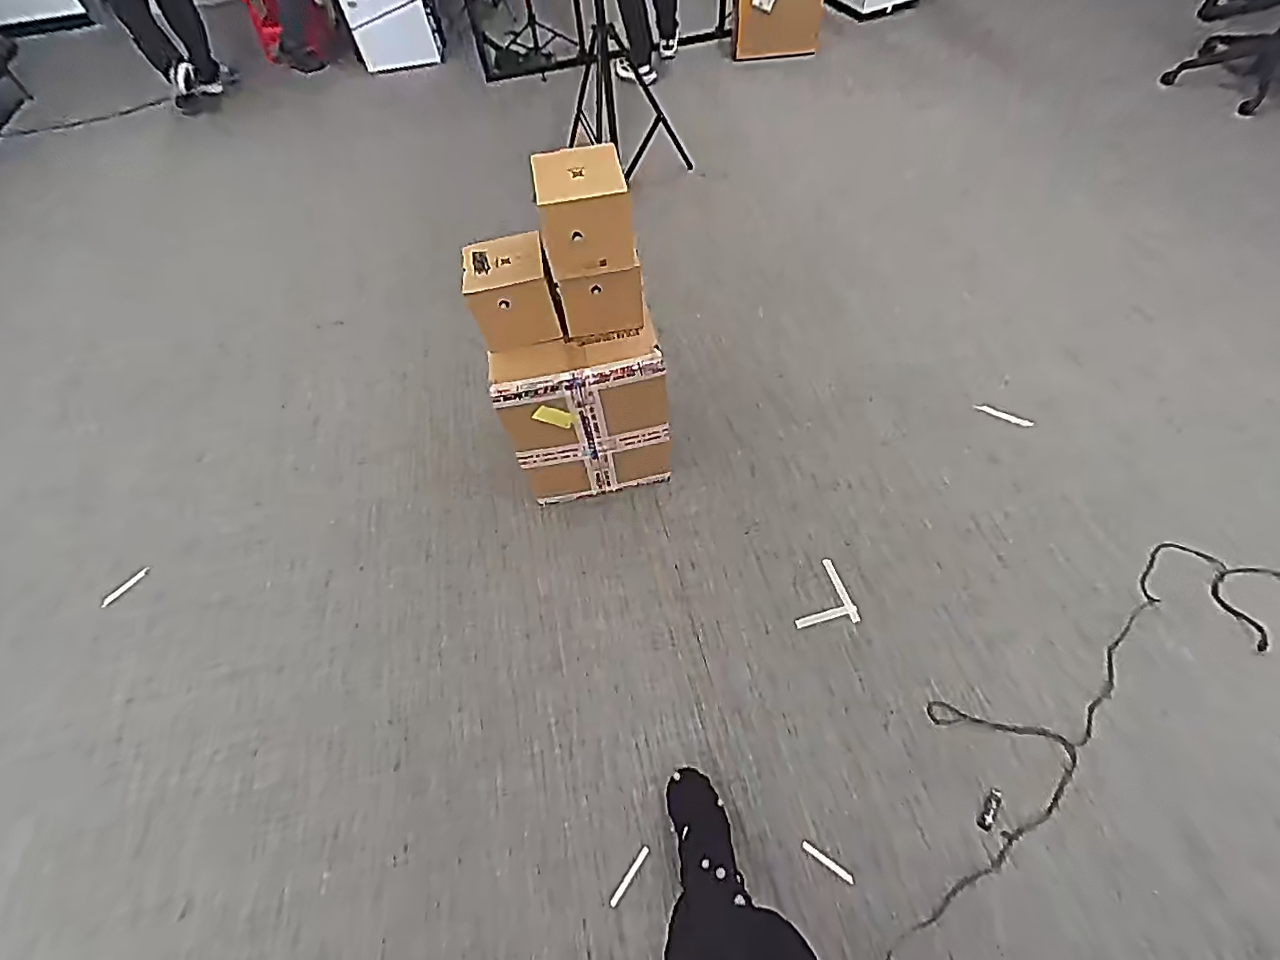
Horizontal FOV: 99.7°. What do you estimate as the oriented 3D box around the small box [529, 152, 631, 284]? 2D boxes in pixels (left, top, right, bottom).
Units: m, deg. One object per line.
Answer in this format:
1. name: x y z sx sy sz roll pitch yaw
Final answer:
1. small box: -0.115 -0.510 1.074 0.168 0.176 0.179 -11 57 -3
